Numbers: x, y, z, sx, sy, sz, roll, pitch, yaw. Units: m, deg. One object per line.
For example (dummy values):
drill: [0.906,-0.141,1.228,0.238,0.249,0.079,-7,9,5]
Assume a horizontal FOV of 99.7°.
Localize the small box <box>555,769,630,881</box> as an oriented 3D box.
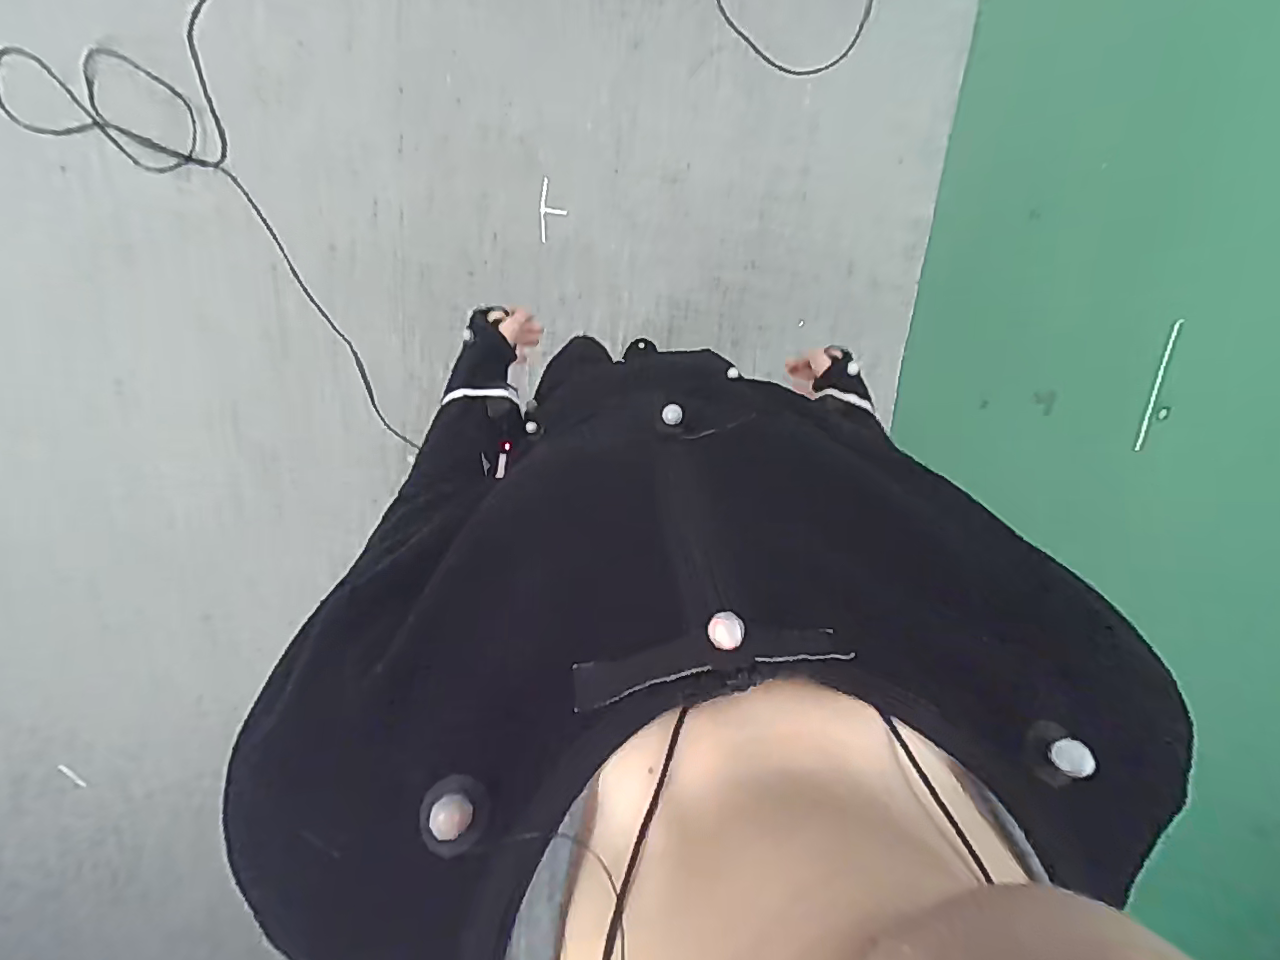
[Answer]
small box: [-0.124,0.896,1.410,0.168,0.176,0.179,8,102,-7]
